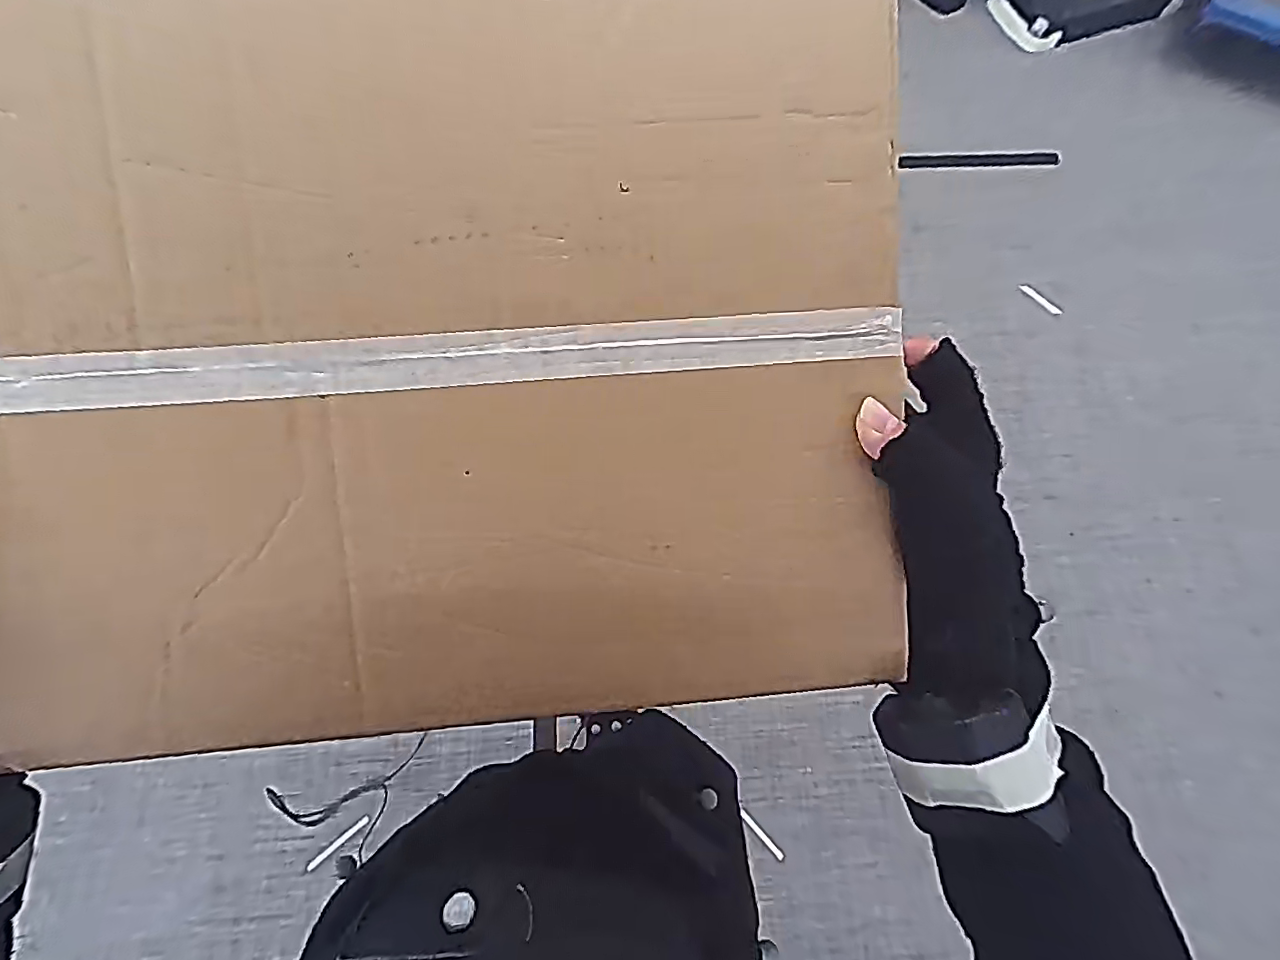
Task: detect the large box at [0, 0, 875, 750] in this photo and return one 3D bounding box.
[{"bbox_3d":[-0.102,-0.065,0.379,0.408,0.320,0.320,-4,95,-4],"label":"large box"}]
